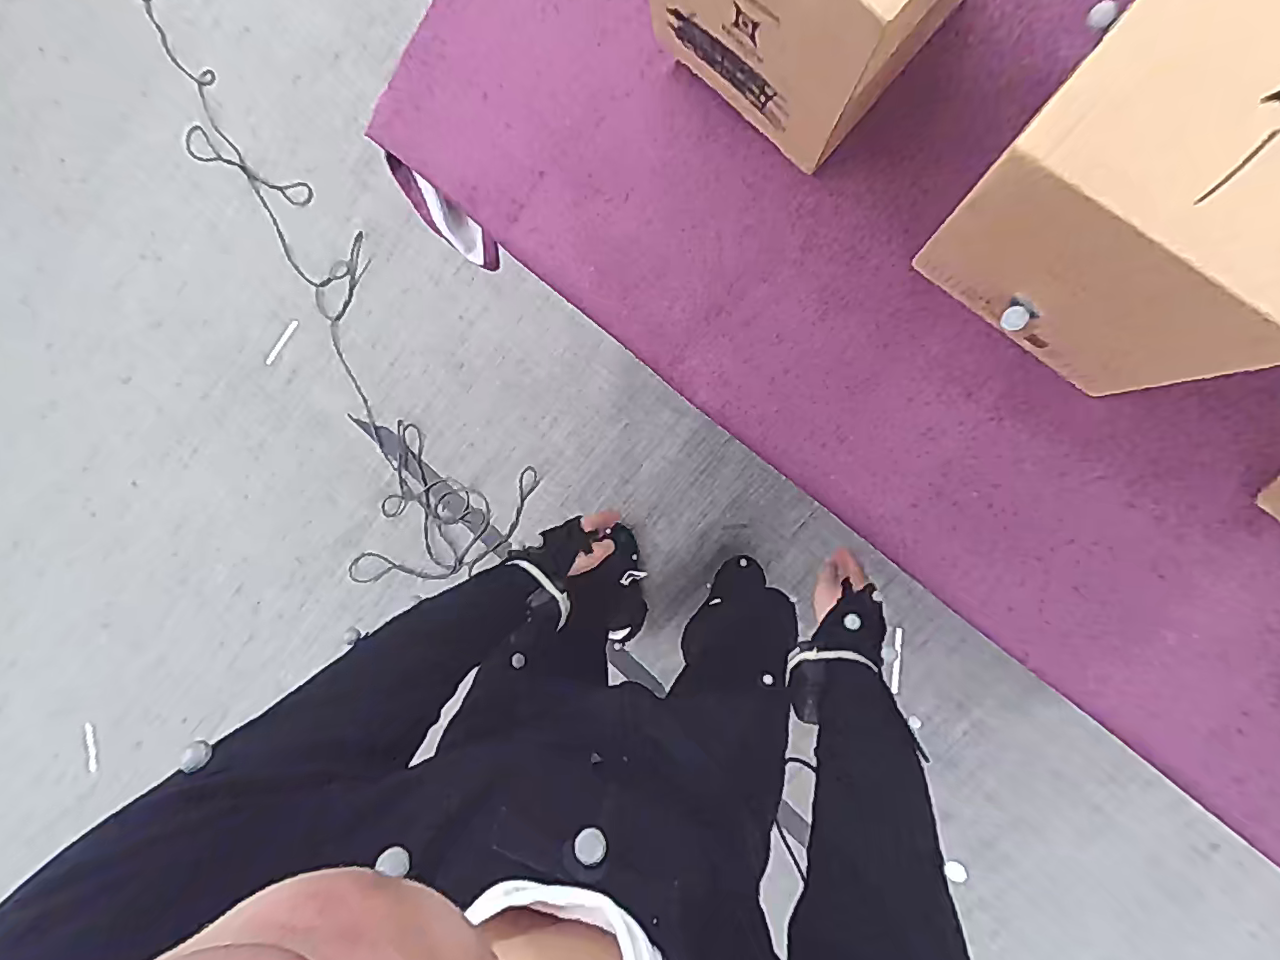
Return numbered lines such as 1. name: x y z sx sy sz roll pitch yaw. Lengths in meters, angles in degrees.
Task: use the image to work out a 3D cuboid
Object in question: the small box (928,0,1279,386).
1. small box: 0.311 -0.178 0.318 0.168 0.176 0.179 41 99 7
